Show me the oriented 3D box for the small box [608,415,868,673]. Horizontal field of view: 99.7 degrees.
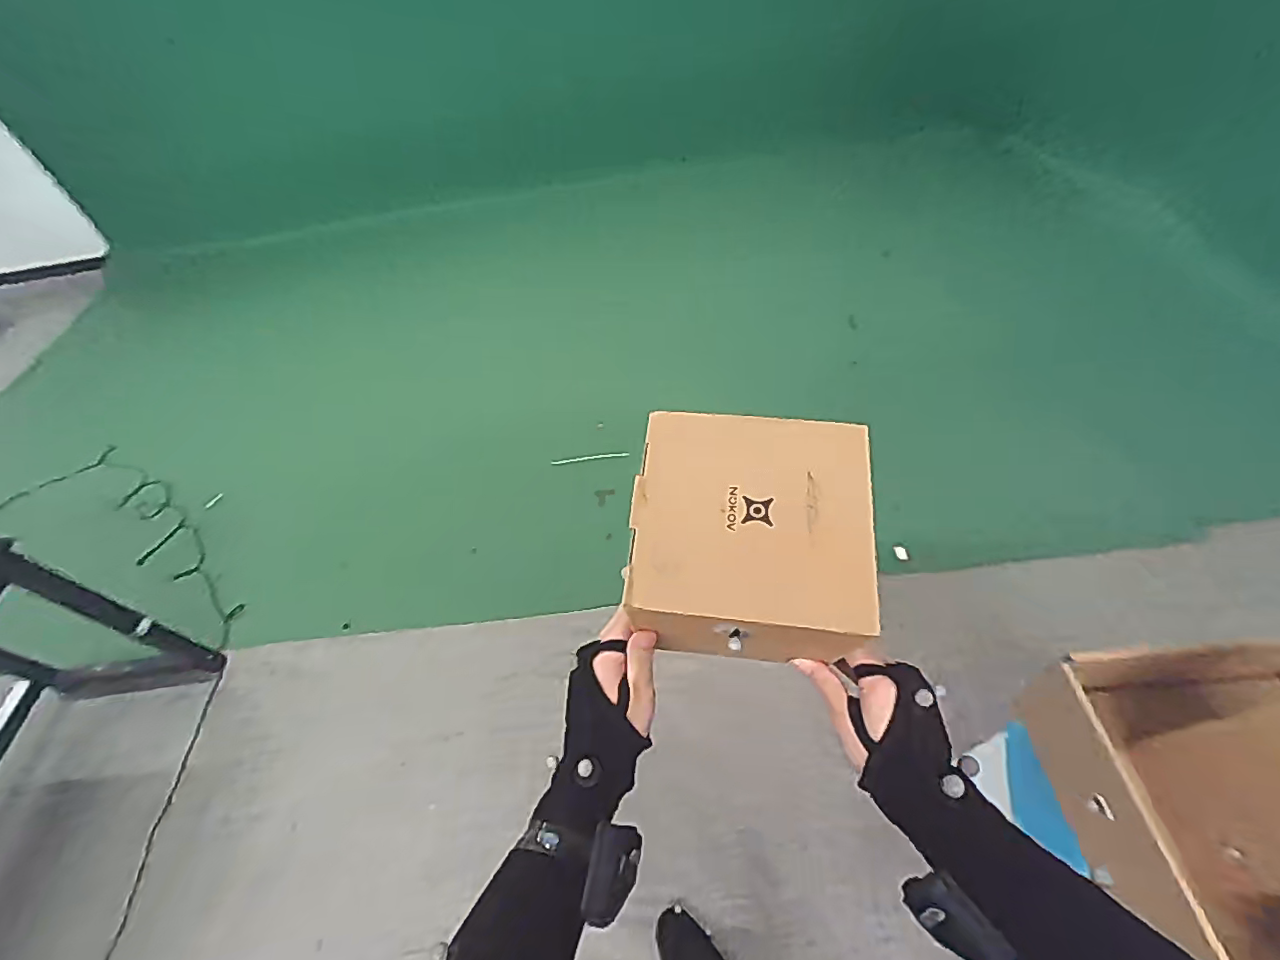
[{"bbox_3d":[0.080,0.063,0.468,0.179,0.176,0.168,5,63,7],"label":"small box"}]
